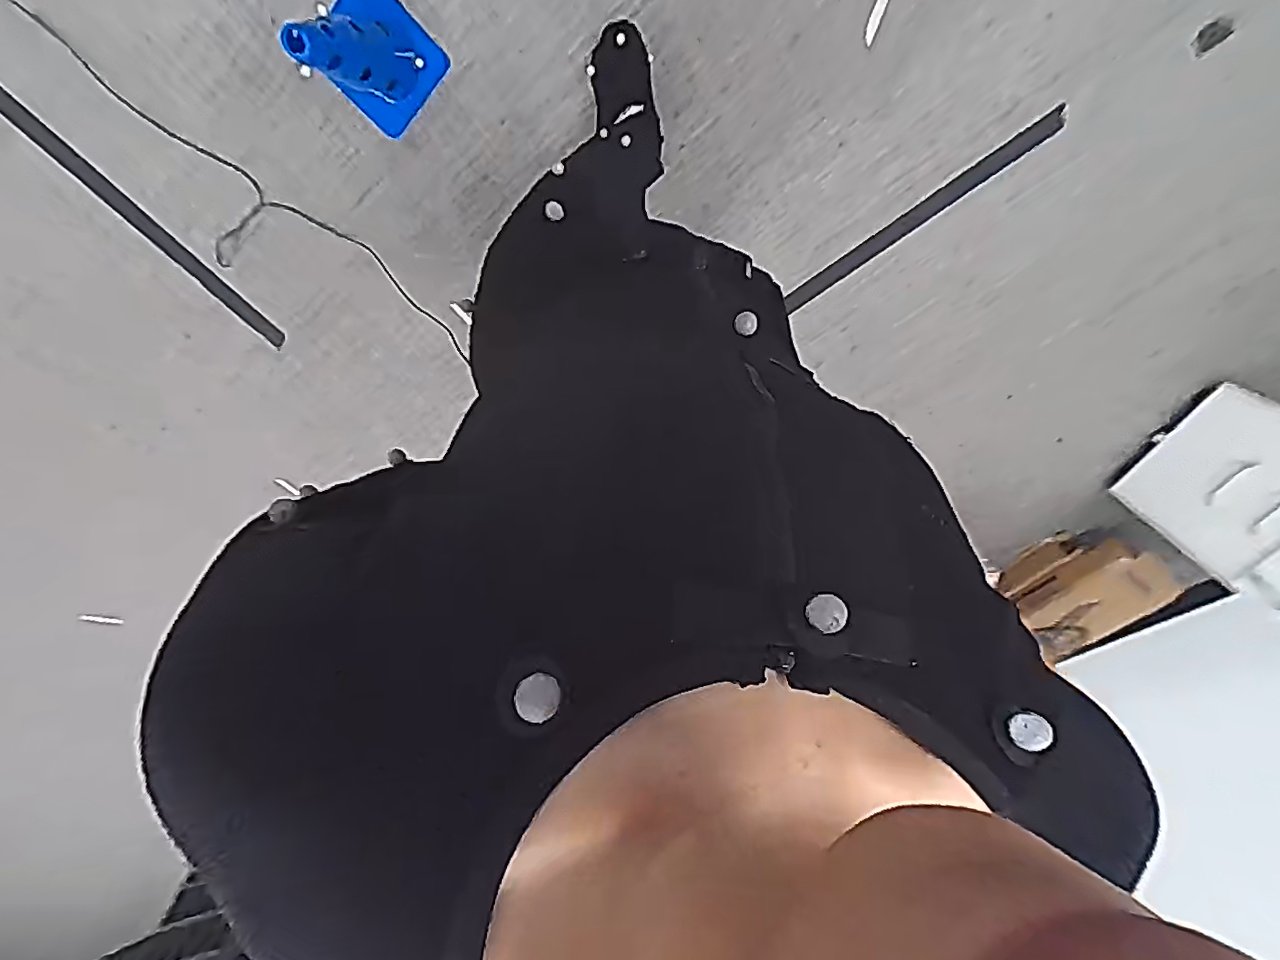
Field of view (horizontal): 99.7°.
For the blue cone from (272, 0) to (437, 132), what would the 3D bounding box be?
[{"bbox_3d":[-0.506,-0.718,0.913,0.192,0.380,0.193,-37,120,21],"label":"blue cone"}]
